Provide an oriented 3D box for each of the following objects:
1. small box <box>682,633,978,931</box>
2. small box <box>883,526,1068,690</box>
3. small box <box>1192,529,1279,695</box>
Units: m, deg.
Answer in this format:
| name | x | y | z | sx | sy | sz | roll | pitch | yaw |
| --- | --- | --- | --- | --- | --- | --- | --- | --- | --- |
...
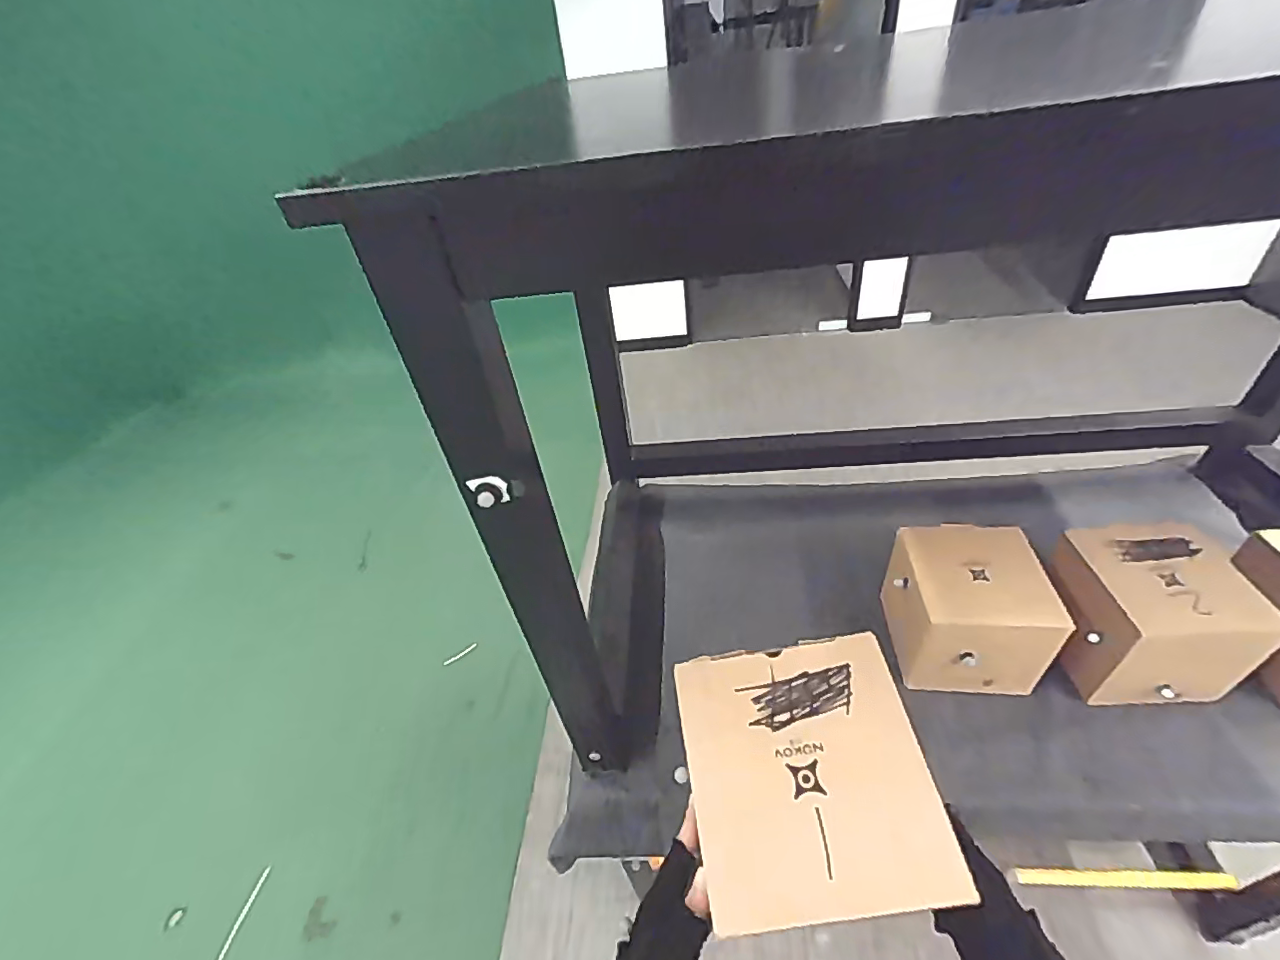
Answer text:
| name | x | y | z | sx | sy | sz | roll | pitch | yaw |
| --- | --- | --- | --- | --- | --- | --- | --- | --- | --- |
| small box | 0.131 | 0.251 | 0.450 | 0.168 | 0.176 | 0.179 | -10 | 52 | 2 |
| small box | 0.468 | 0.186 | 0.789 | 0.168 | 0.176 | 0.179 | -1 | 40 | 10 |
| small box | 0.908 | 0.179 | 0.707 | 0.168 | 0.176 | 0.179 | -4 | 39 | 6 |
